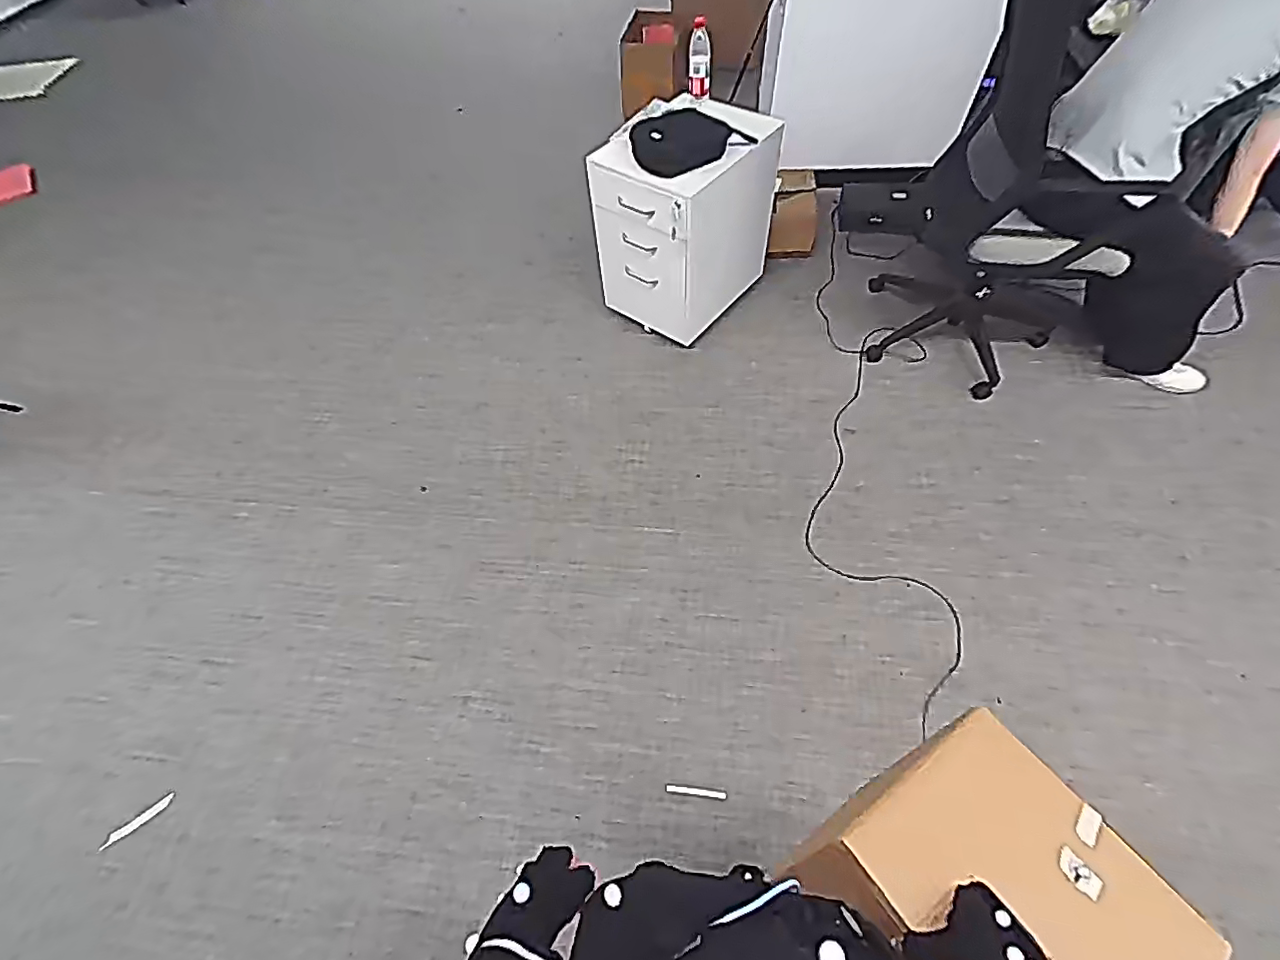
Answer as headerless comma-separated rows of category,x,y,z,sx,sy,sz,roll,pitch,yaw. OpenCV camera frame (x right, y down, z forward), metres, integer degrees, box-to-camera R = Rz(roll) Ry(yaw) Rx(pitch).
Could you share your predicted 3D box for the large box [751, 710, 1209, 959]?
large box,0.411,0.600,0.745,0.320,0.408,0.320,-20,51,-27
